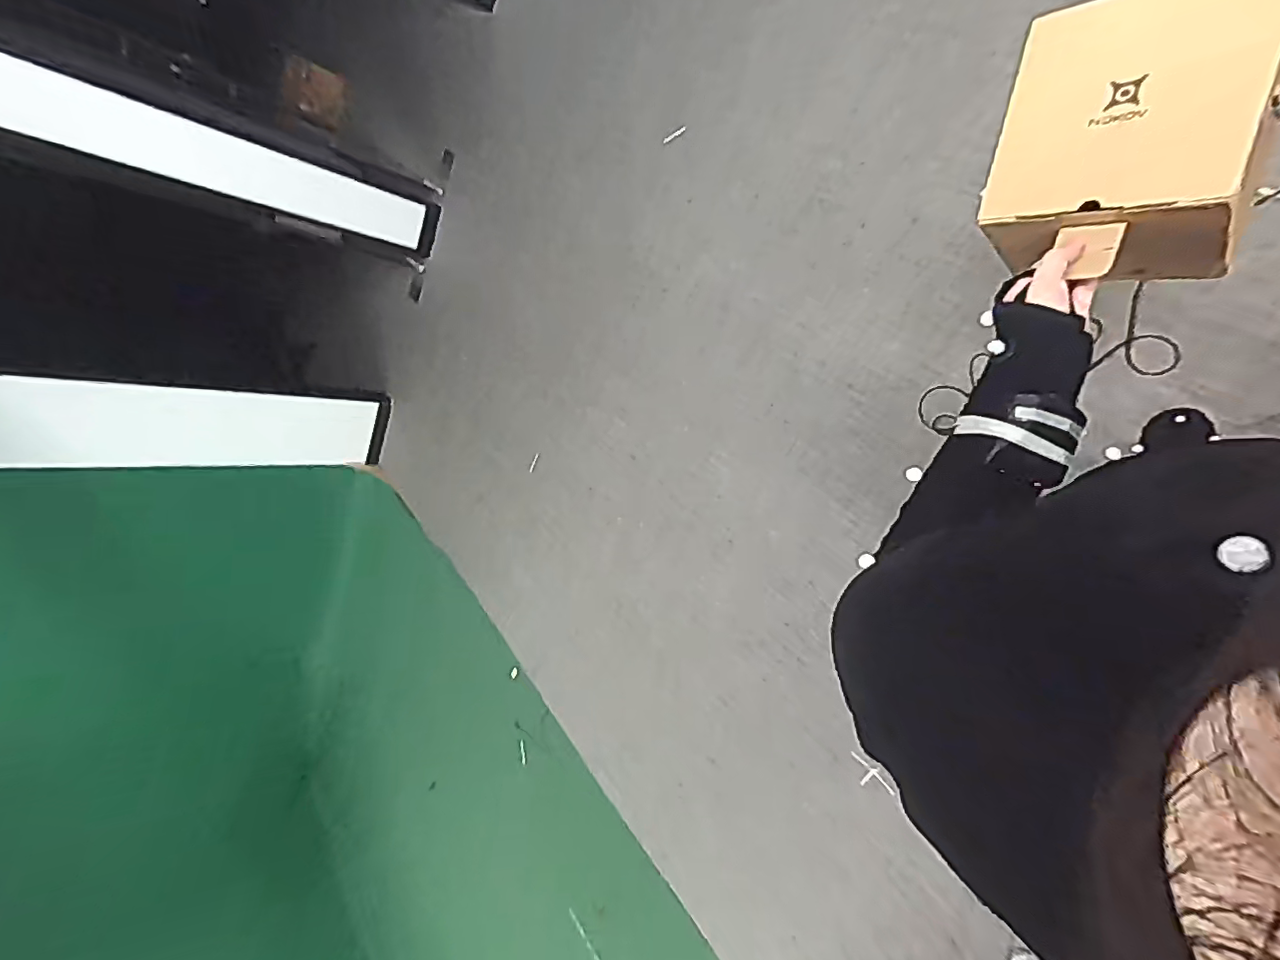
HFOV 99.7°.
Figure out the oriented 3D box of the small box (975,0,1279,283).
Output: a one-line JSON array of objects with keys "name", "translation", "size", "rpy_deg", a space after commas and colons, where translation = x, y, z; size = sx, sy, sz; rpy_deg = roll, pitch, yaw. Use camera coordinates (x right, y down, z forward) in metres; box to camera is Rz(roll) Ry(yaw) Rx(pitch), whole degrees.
[{"name": "small box", "translation": [0.442, -0.296, 0.496], "size": [0.168, 0.176, 0.179], "rpy_deg": [19, 100, 45]}]
